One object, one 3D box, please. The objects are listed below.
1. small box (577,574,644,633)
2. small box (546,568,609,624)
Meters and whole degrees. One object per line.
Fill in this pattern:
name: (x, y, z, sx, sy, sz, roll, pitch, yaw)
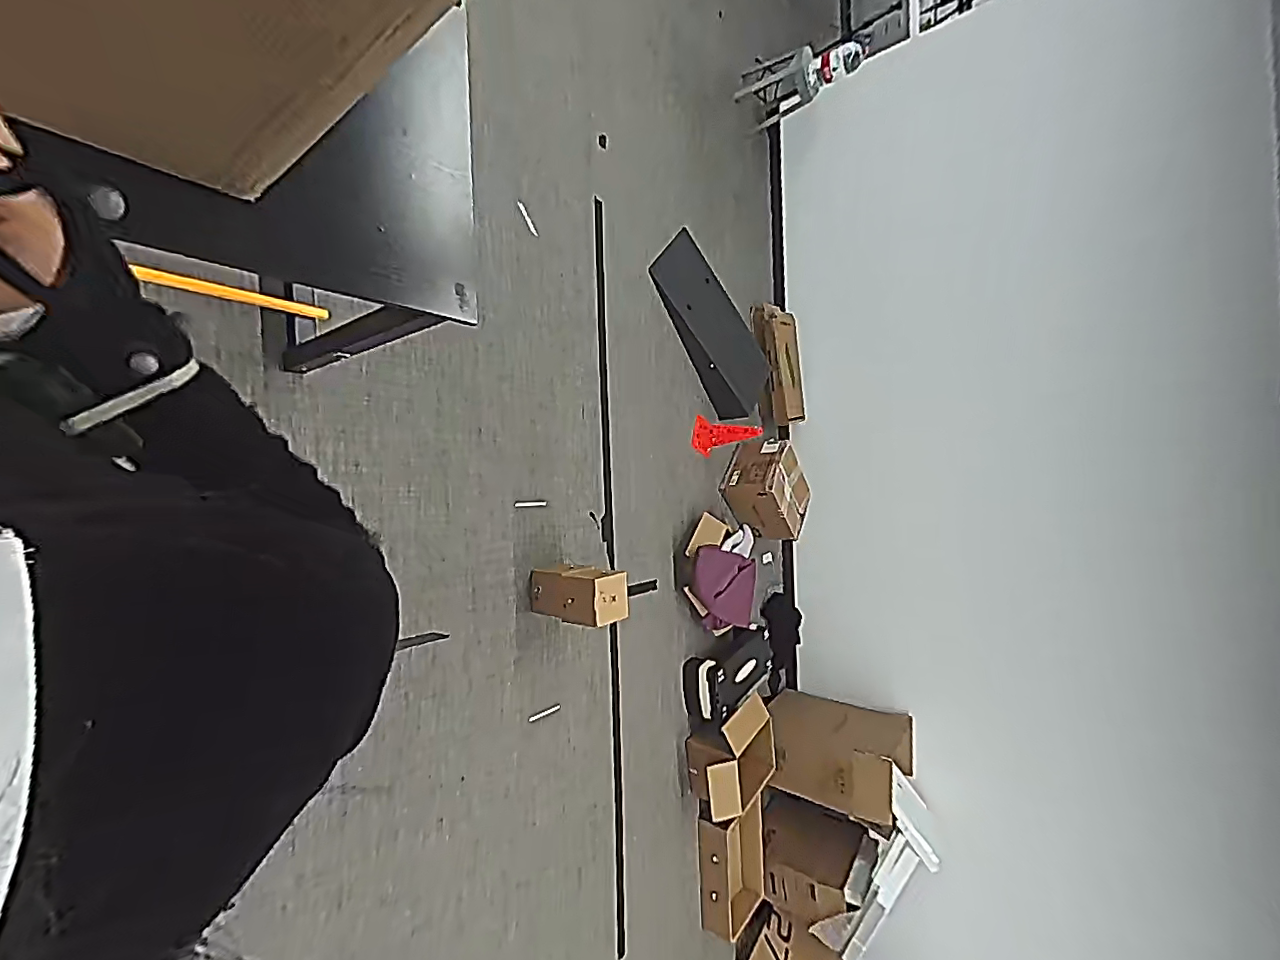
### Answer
small box: (-0.103, 0.430, 1.910, 0.179, 0.176, 0.168, -2, 90, -53)
small box: (-0.230, 0.426, 2.015, 0.179, 0.176, 0.168, -3, 90, -52)
